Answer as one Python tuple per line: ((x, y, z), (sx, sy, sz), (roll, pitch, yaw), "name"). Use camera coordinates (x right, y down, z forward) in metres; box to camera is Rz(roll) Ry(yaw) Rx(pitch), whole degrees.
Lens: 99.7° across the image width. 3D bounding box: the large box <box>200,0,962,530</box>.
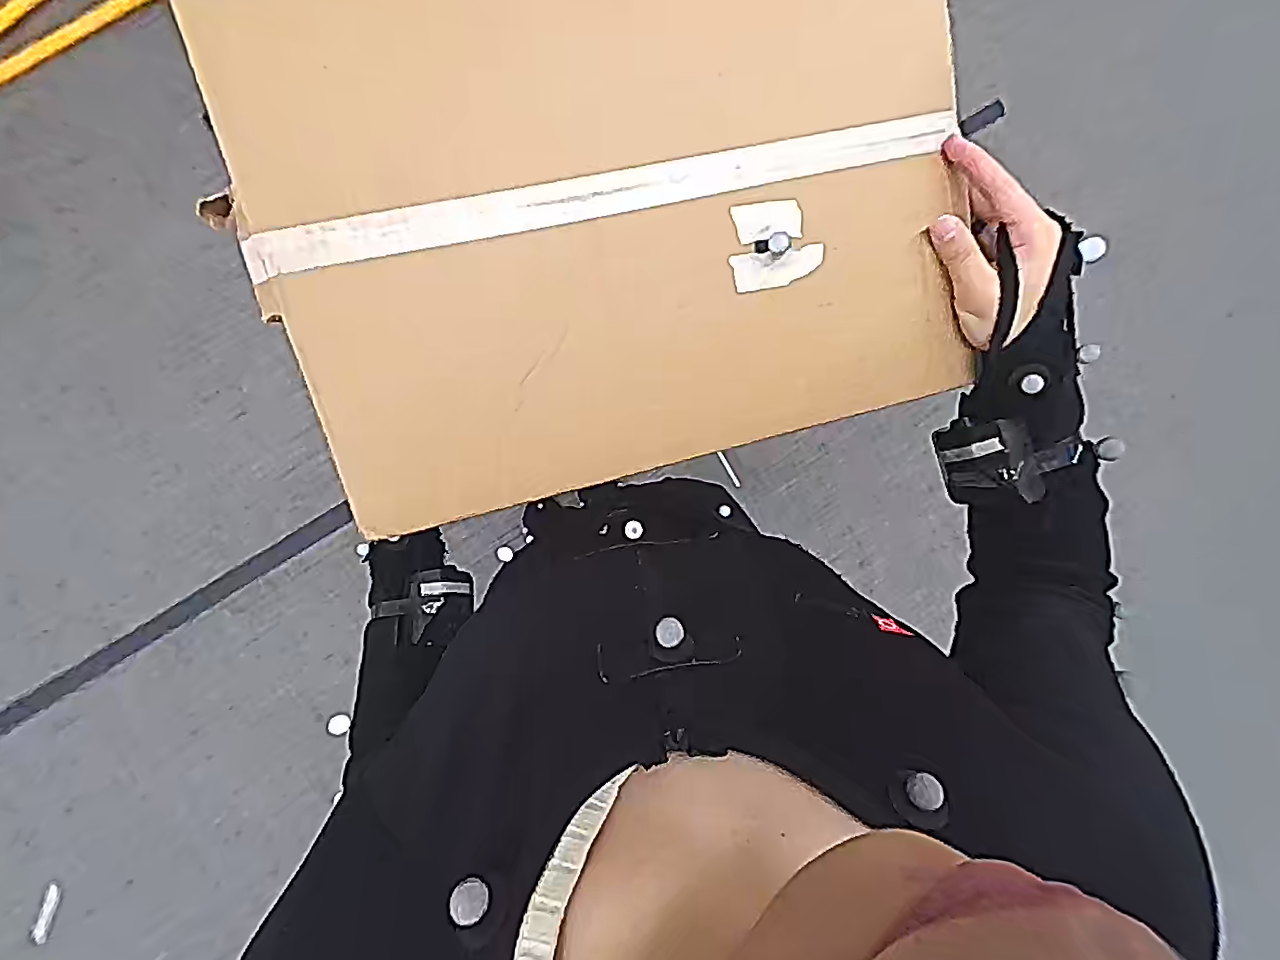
((-0.028, -0.187, 0.459), (0.408, 0.320, 0.320), (-15, 103, -10), "large box")
